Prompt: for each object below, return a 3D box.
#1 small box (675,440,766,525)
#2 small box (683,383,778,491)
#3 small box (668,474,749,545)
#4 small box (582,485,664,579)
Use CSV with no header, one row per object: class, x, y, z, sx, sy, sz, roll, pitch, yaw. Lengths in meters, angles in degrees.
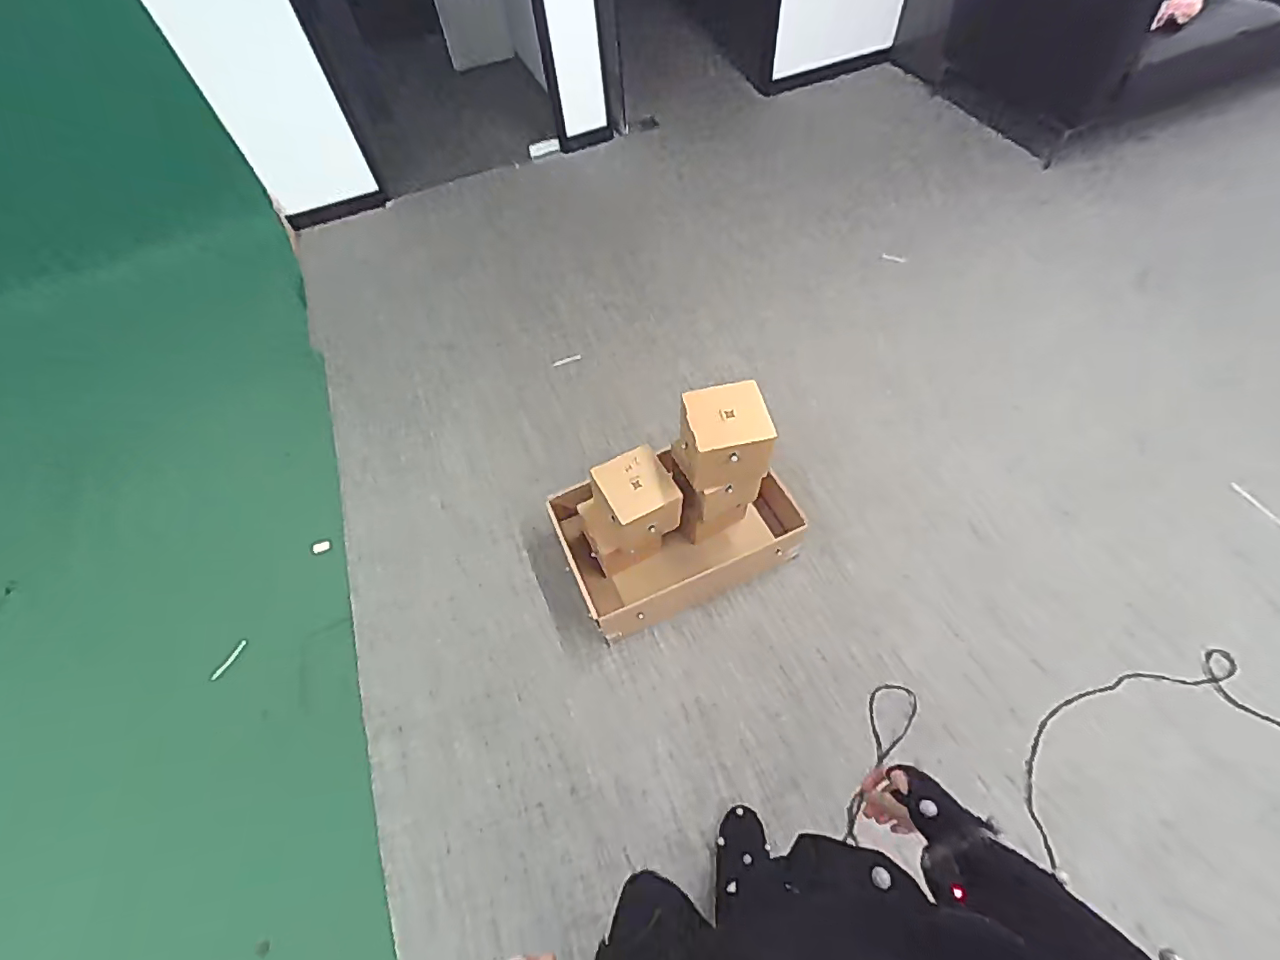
small box,0.203,-0.017,1.393,0.168,0.176,0.179,-26,60,-9
small box,0.201,-0.095,1.250,0.179,0.176,0.168,-13,59,-1
small box,0.201,0.056,1.543,0.179,0.176,0.168,-31,60,-11
small box,-0.042,0.150,1.505,0.179,0.176,0.168,-25,61,-13
